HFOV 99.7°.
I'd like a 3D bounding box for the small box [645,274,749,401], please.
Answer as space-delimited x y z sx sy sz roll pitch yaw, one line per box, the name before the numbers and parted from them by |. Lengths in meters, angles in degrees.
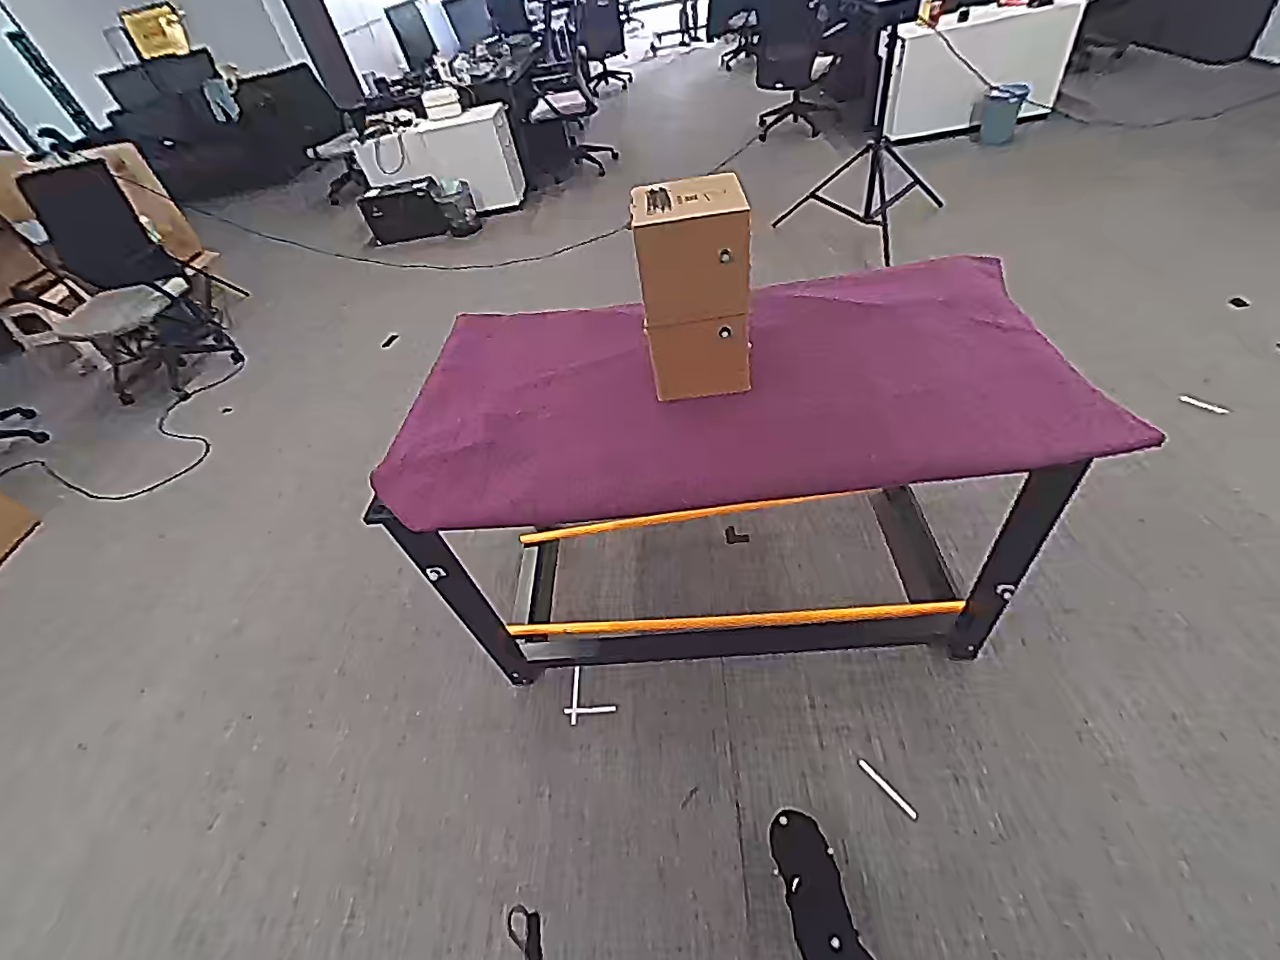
small box | 0.109 -0.264 1.021 0.179 0.176 0.168 -6 45 7
